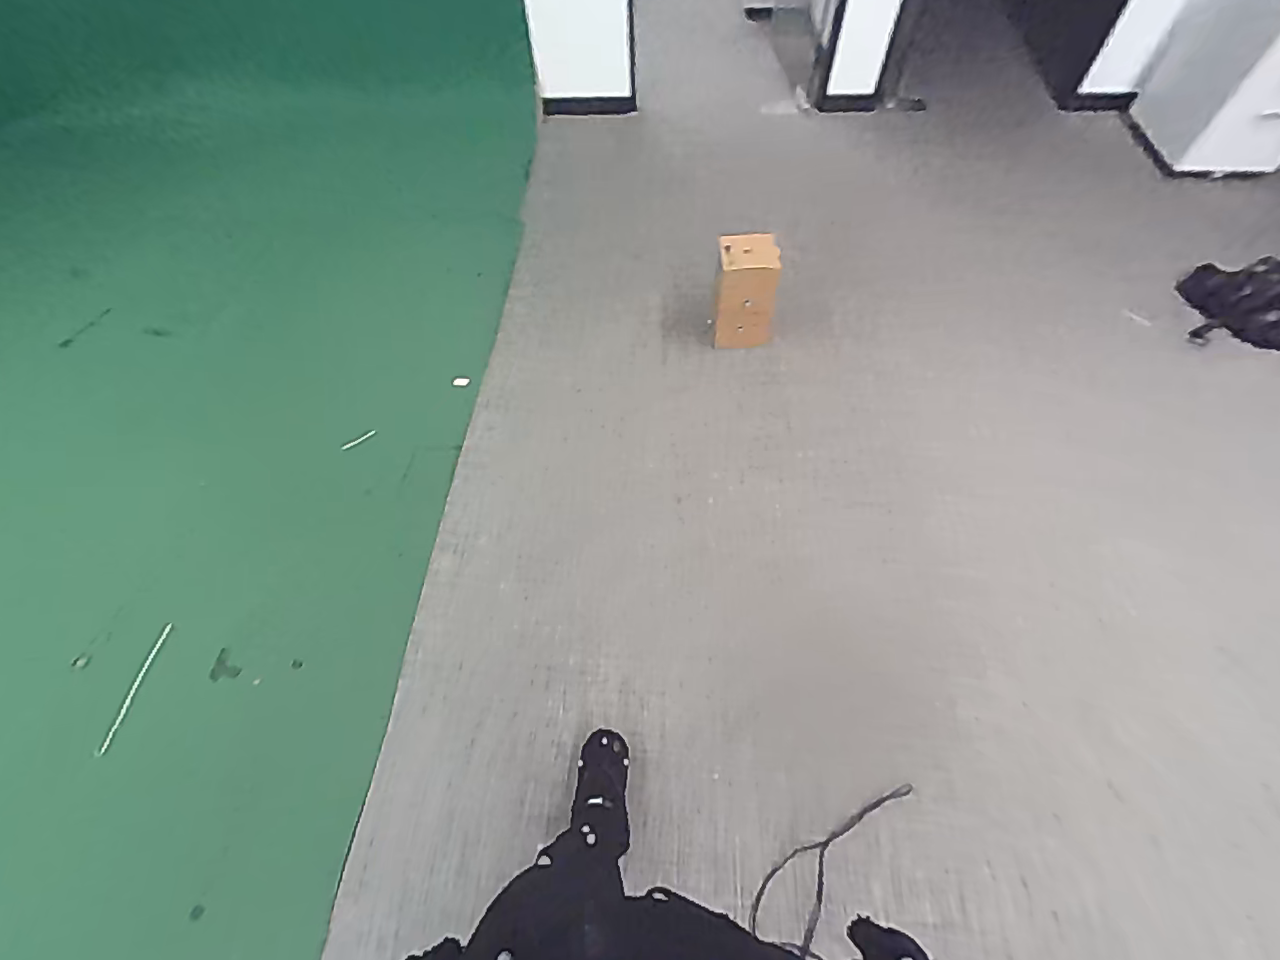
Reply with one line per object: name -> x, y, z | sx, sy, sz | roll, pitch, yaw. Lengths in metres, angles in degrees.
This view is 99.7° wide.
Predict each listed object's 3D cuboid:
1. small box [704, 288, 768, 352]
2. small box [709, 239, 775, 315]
small box -> 0.330, -0.569, 1.887 | 0.179, 0.176, 0.168 | -6, 58, -3
small box -> 0.324, -0.652, 1.746 | 0.179, 0.176, 0.168 | -2, 58, 0
